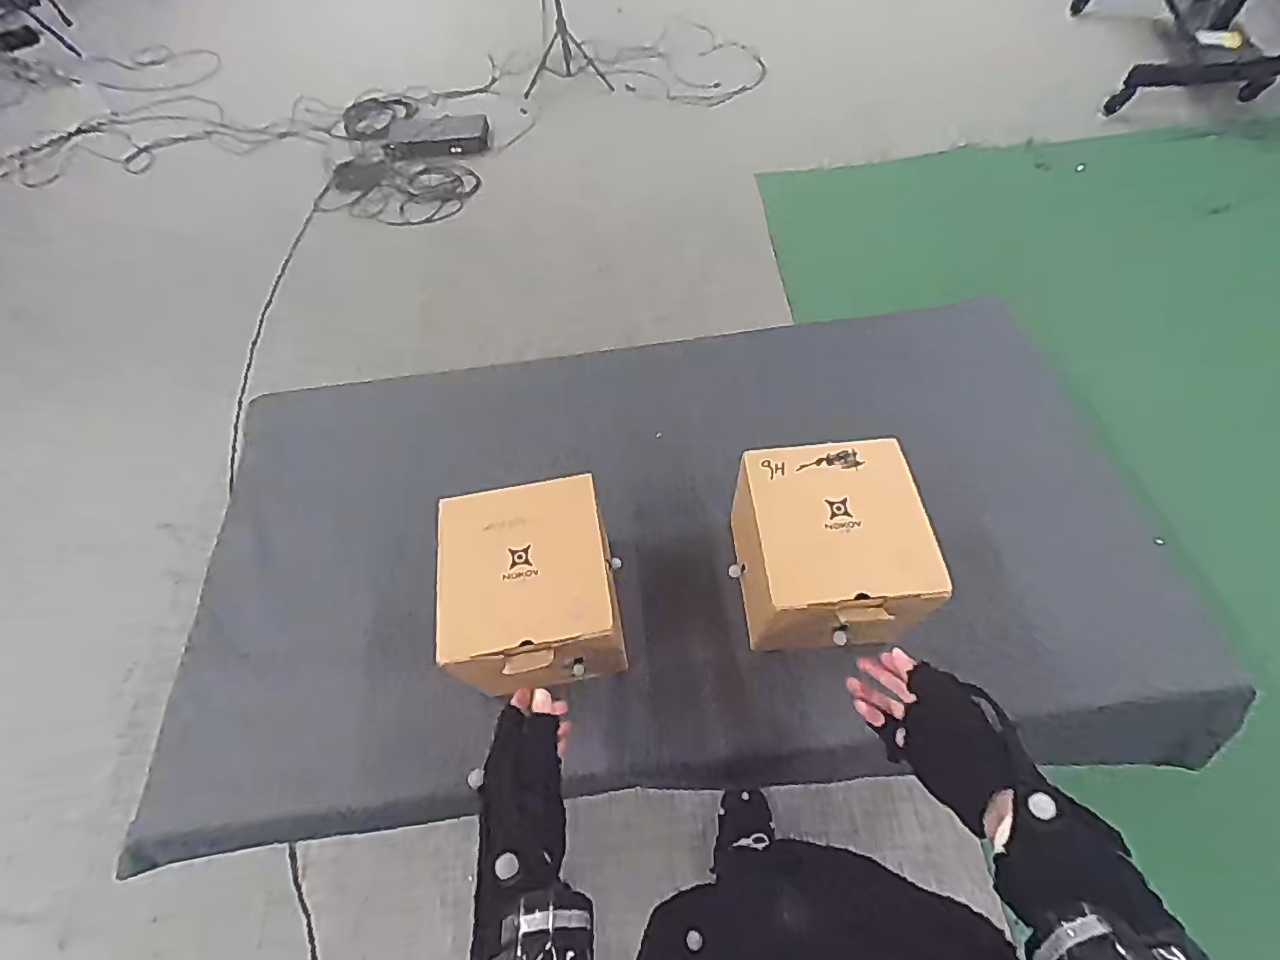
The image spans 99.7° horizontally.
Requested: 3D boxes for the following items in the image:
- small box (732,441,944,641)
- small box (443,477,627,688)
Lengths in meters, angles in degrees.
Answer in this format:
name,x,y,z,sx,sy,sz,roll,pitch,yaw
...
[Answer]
name,x,y,z,sx,sy,sz,roll,pitch,yaw
small box,0.202,0.078,0.613,0.168,0.176,0.179,-4,60,0
small box,-0.111,0.124,0.609,0.168,0.176,0.179,-10,58,-4
